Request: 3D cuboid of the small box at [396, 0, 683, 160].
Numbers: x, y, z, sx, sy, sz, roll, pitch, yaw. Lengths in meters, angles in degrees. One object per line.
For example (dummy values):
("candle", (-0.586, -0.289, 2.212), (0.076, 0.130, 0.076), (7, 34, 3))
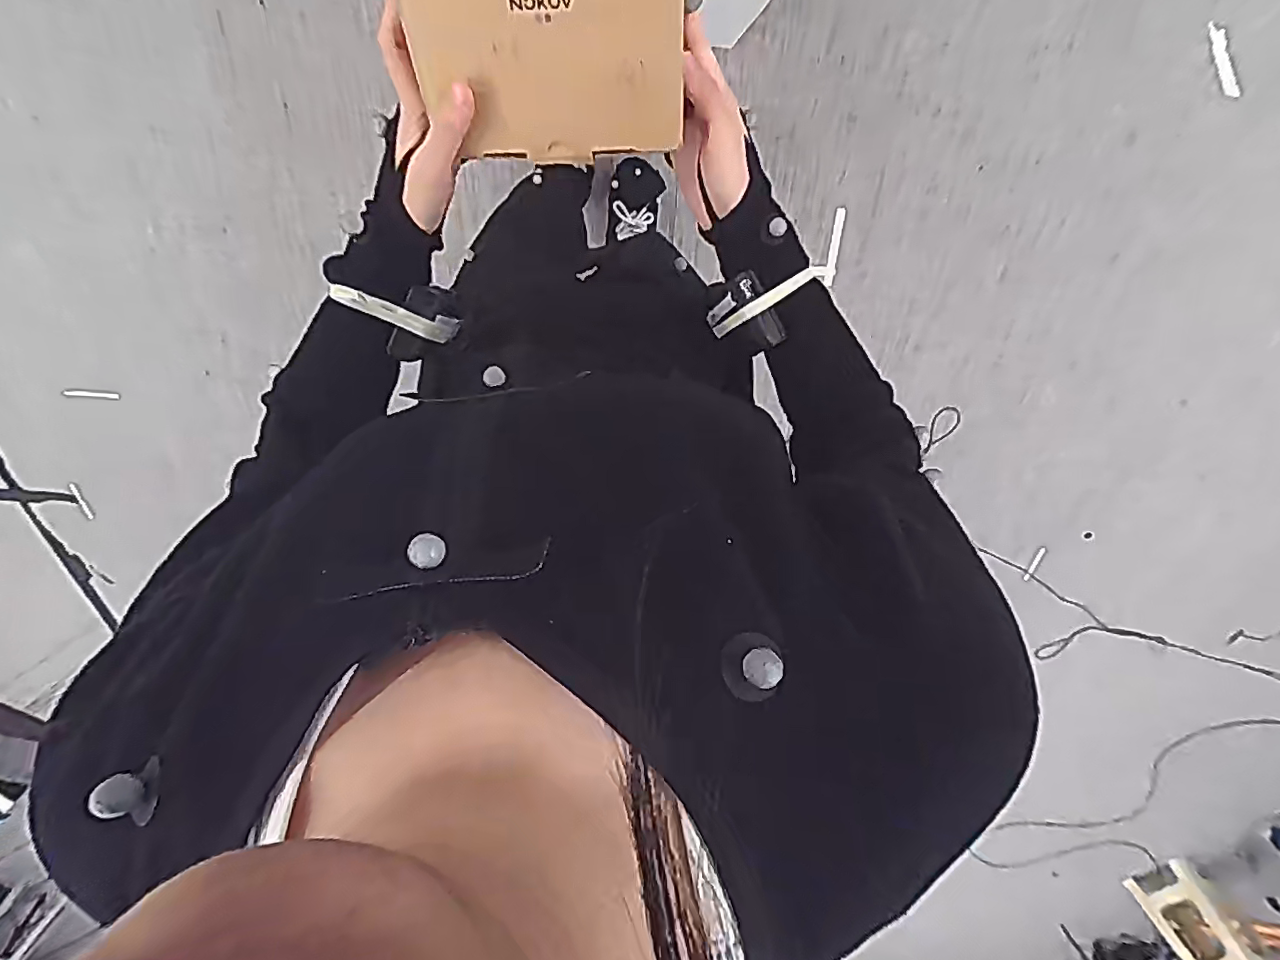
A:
("small box", (-0.054, -0.334, 0.354), (0.168, 0.176, 0.179), (0, 136, 3))
